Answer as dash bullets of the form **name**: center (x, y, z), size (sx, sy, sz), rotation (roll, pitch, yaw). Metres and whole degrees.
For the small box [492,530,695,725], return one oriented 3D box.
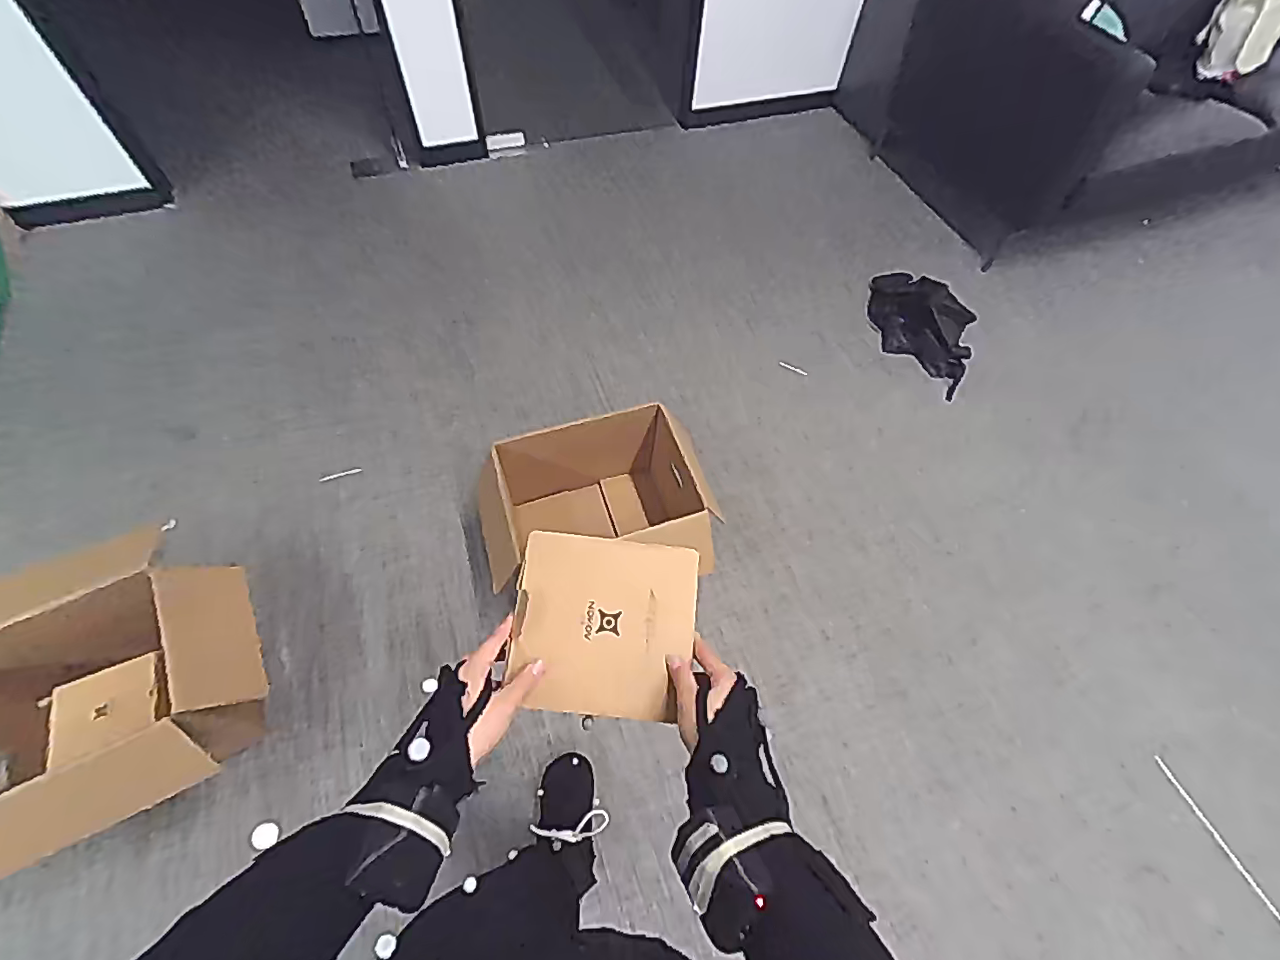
- **small box**: center (-0.045, 0.164, 0.585), size (0.179, 0.176, 0.168), rotation (7, 69, -3)
